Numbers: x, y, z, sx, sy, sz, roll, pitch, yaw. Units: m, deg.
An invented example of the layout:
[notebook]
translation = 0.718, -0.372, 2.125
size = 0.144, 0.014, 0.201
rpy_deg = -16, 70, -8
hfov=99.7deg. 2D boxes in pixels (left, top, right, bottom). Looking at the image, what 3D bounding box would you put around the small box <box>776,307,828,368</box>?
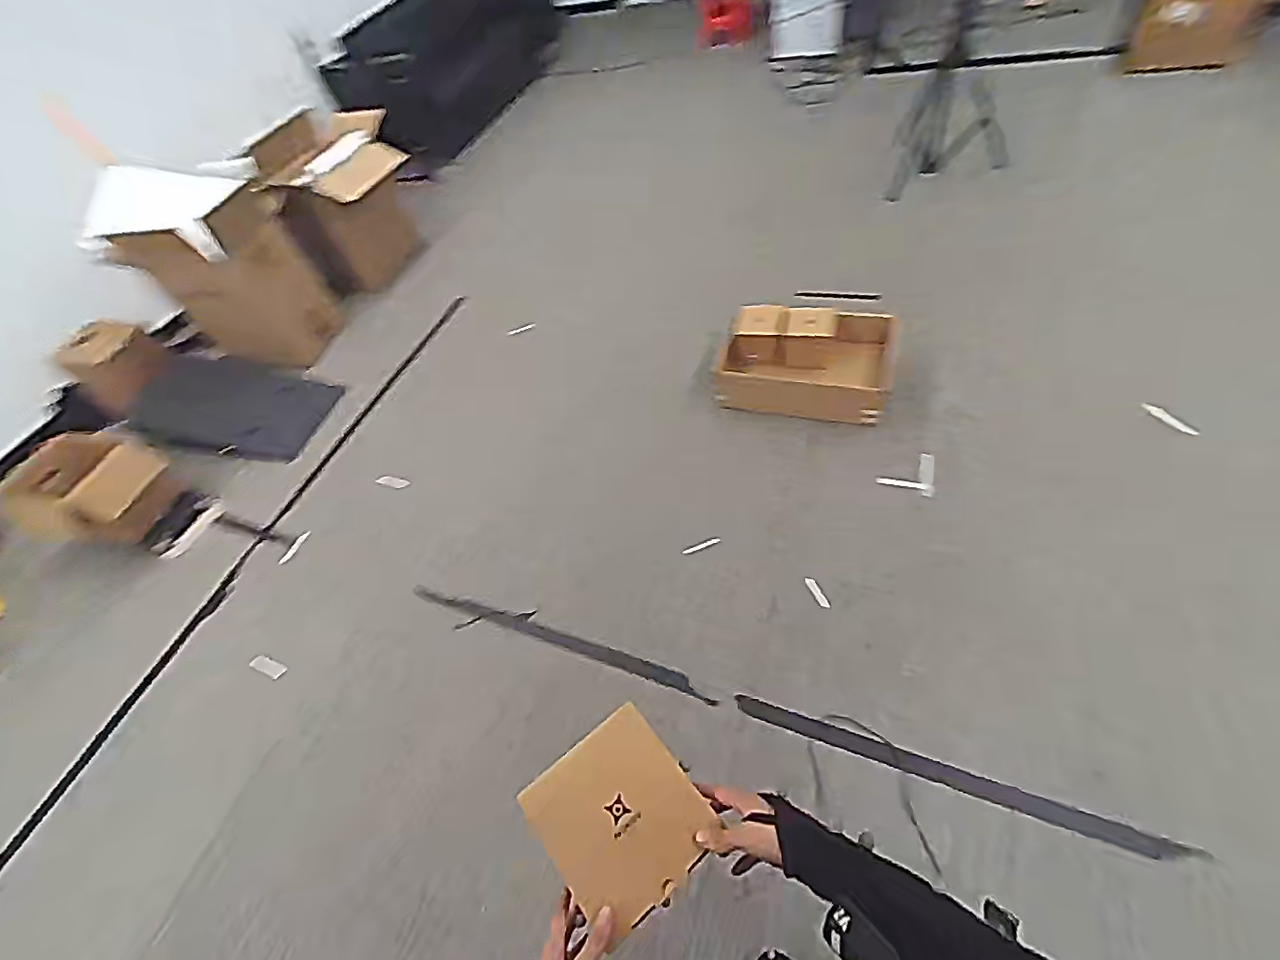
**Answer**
[small box]
translation = 0.636, -0.558, 2.129
size = 0.179, 0.176, 0.168
rpy_deg = 6, 57, 17
